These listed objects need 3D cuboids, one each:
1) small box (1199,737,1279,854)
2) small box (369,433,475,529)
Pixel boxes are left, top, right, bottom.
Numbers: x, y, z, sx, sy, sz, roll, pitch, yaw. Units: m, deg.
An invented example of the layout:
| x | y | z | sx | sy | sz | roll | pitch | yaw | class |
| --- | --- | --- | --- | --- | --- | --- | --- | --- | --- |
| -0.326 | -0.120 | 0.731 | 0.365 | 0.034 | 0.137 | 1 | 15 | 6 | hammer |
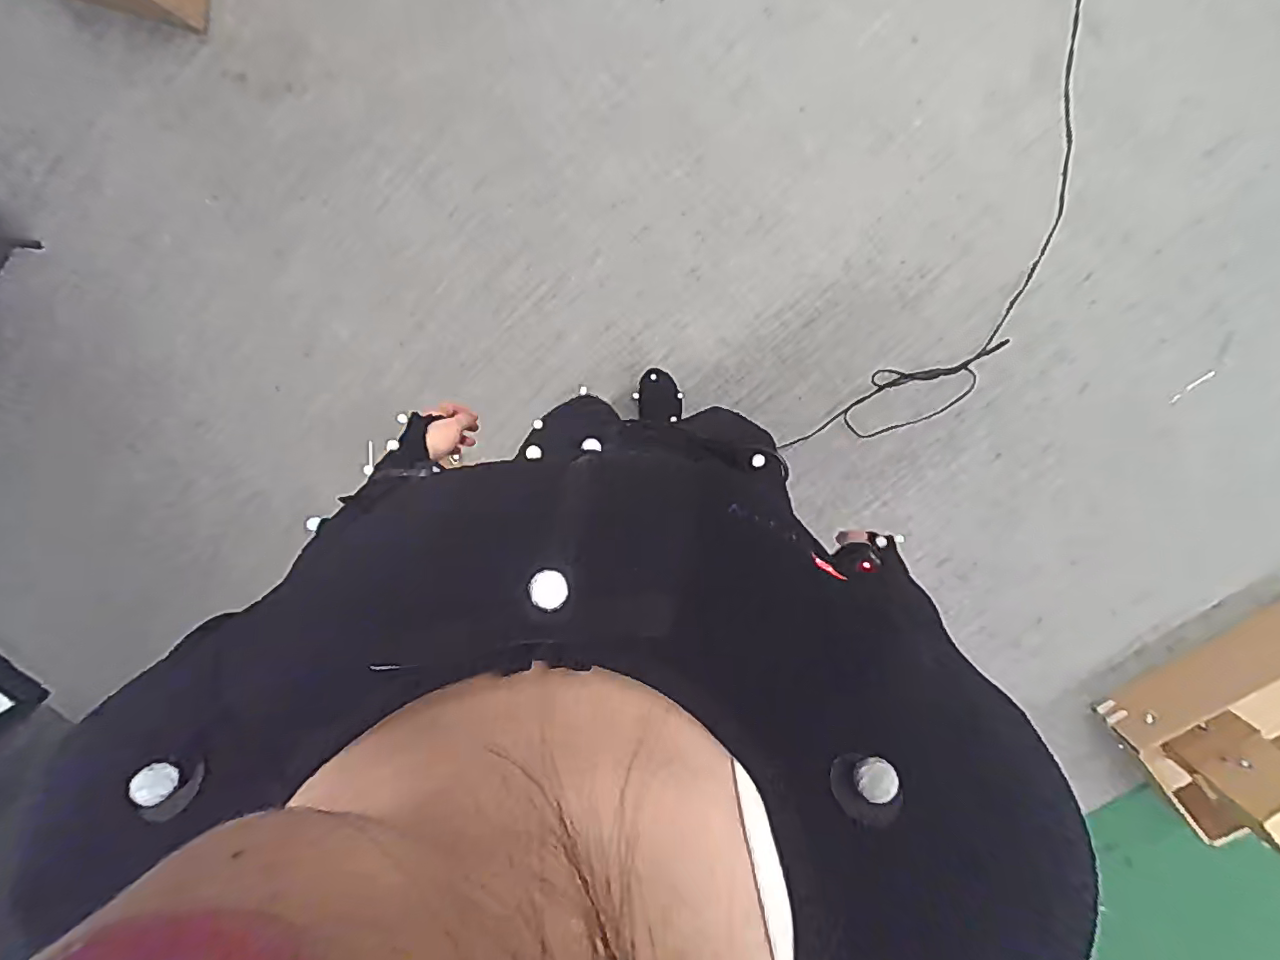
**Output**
| x | y | z | sx | sy | sz | roll | pitch | yaw | class |
| --- | --- | --- | --- | --- | --- | --- | --- | --- | --- |
| 1.530 | 0.764 | 1.297 | 0.168 | 0.176 | 0.179 | -40 | 99 | 13 | small box |
| -0.577 | -0.002 | 1.460 | 0.179 | 0.176 | 0.168 | -41 | 101 | 13 | small box |
